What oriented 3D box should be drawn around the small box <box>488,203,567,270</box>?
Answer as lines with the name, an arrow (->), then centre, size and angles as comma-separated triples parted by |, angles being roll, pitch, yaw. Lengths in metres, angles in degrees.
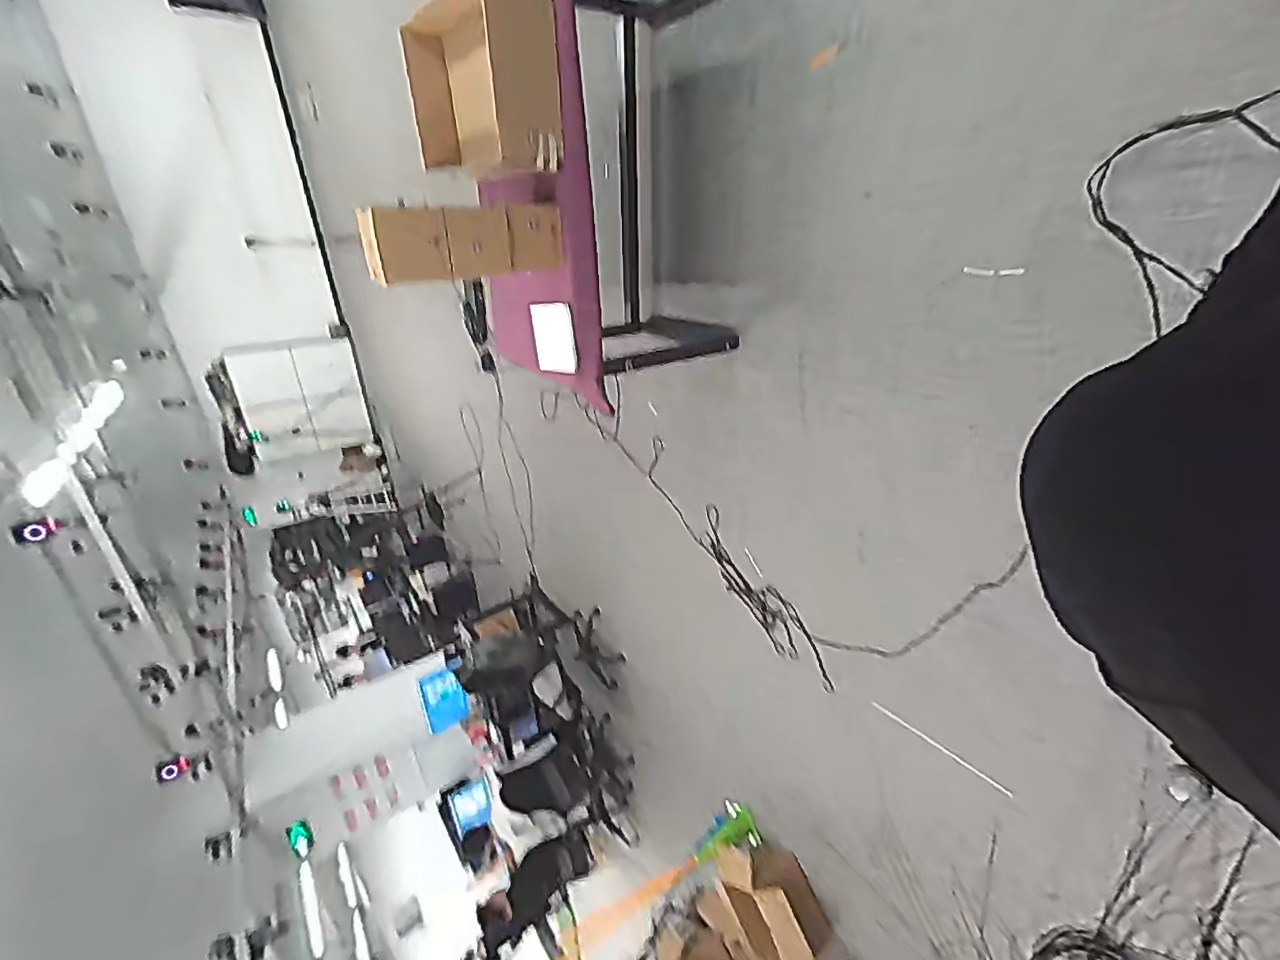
small box -> -0.318, -0.701, 1.550 | 0.179, 0.176, 0.168 | 32, 131, 48

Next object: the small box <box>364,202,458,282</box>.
small box -> -0.579, -0.605, 1.375 | 0.168, 0.176, 0.179 | 32, 130, 48

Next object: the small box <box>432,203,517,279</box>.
small box -> -0.445, -0.648, 1.460 | 0.168, 0.176, 0.179 | 32, 131, 48
